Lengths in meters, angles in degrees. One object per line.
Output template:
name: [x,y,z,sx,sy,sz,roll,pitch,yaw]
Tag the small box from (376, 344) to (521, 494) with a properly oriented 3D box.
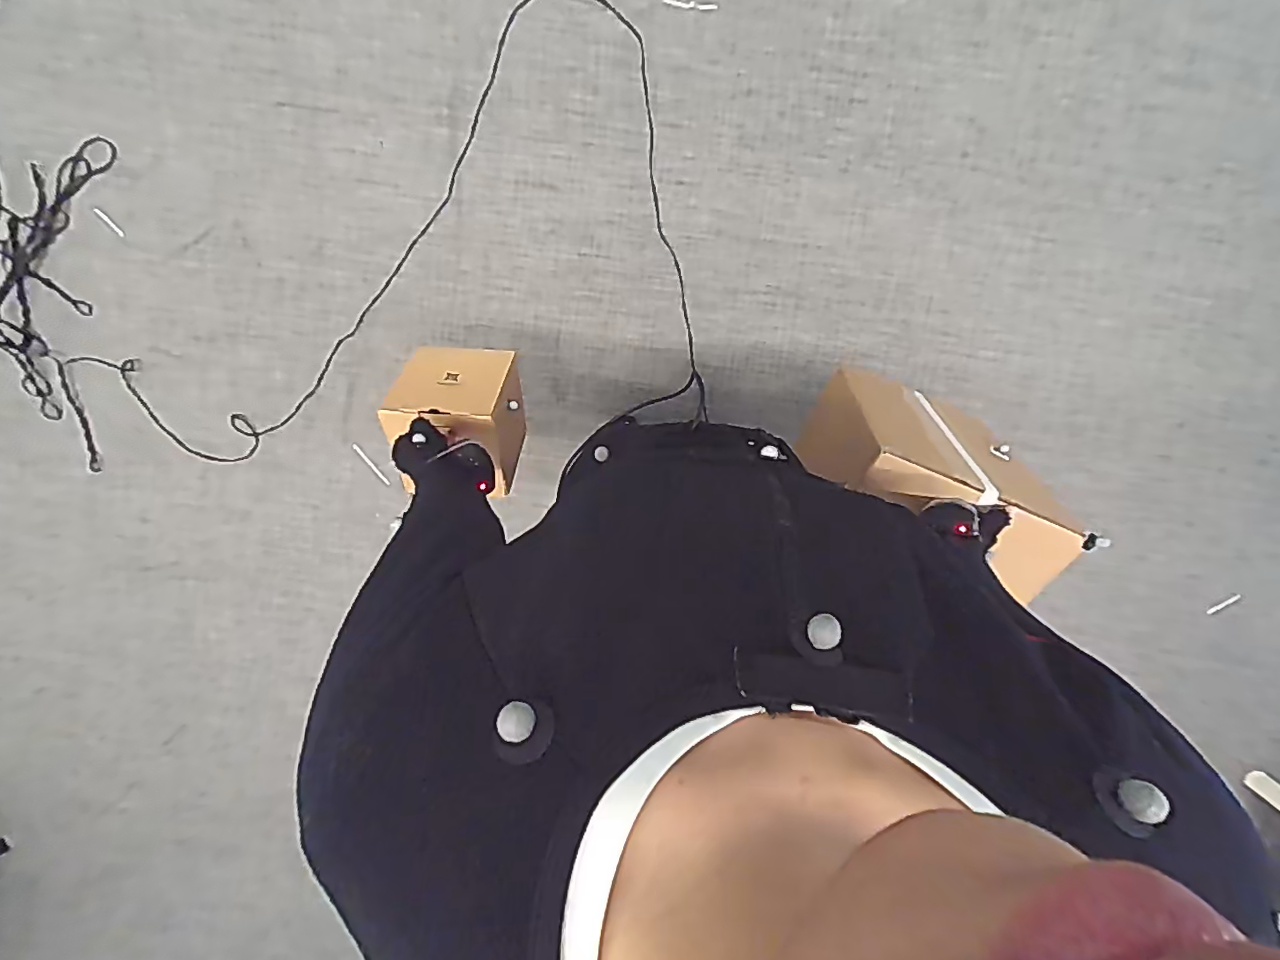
small box: [-0.295,-0.099,0.880,0.168,0.179,0.176,3,135,0]
